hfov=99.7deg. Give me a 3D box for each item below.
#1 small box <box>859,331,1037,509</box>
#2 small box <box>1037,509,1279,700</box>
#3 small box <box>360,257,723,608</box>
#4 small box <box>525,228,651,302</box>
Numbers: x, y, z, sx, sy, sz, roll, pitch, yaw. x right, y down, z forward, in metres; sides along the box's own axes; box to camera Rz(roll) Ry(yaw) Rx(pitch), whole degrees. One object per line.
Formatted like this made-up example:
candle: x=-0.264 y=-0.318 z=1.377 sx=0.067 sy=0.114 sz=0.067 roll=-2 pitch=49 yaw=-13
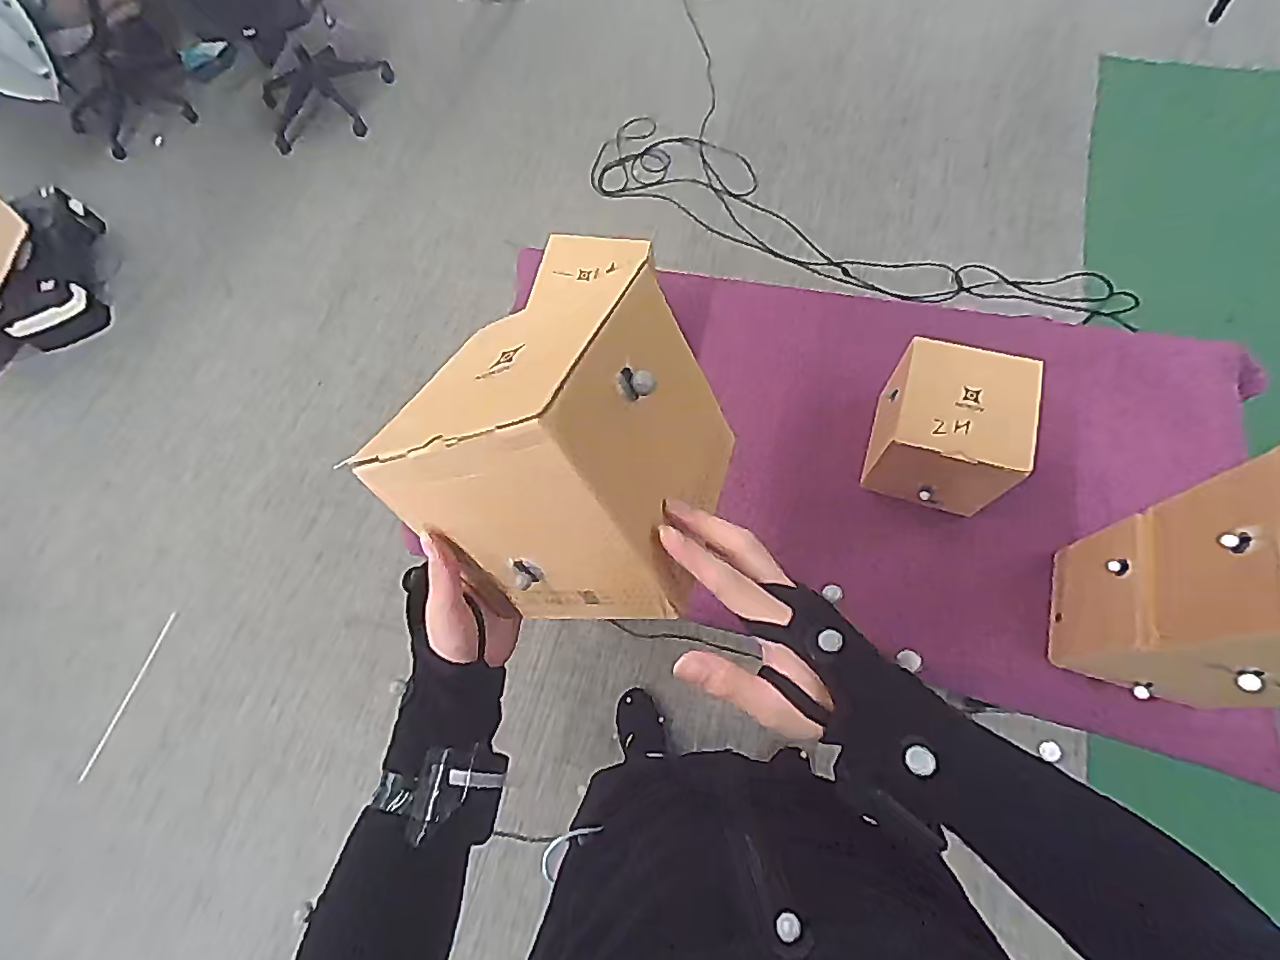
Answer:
small box: x=0.437 y=-0.081 z=0.790 sx=0.168 sy=0.176 sz=0.179 roll=17 pitch=71 yaw=13
small box: x=0.641 y=0.159 z=0.669 sx=0.179 sy=0.176 sz=0.168 roll=16 pitch=70 yaw=12
small box: x=-0.050 y=-0.027 z=0.400 sx=0.168 sy=0.176 sz=0.179 roll=-9 pitch=42 yaw=31
small box: x=-0.074 y=-0.302 z=0.932 sx=0.179 sy=0.176 sz=0.168 roll=9 pitch=70 yaw=10
